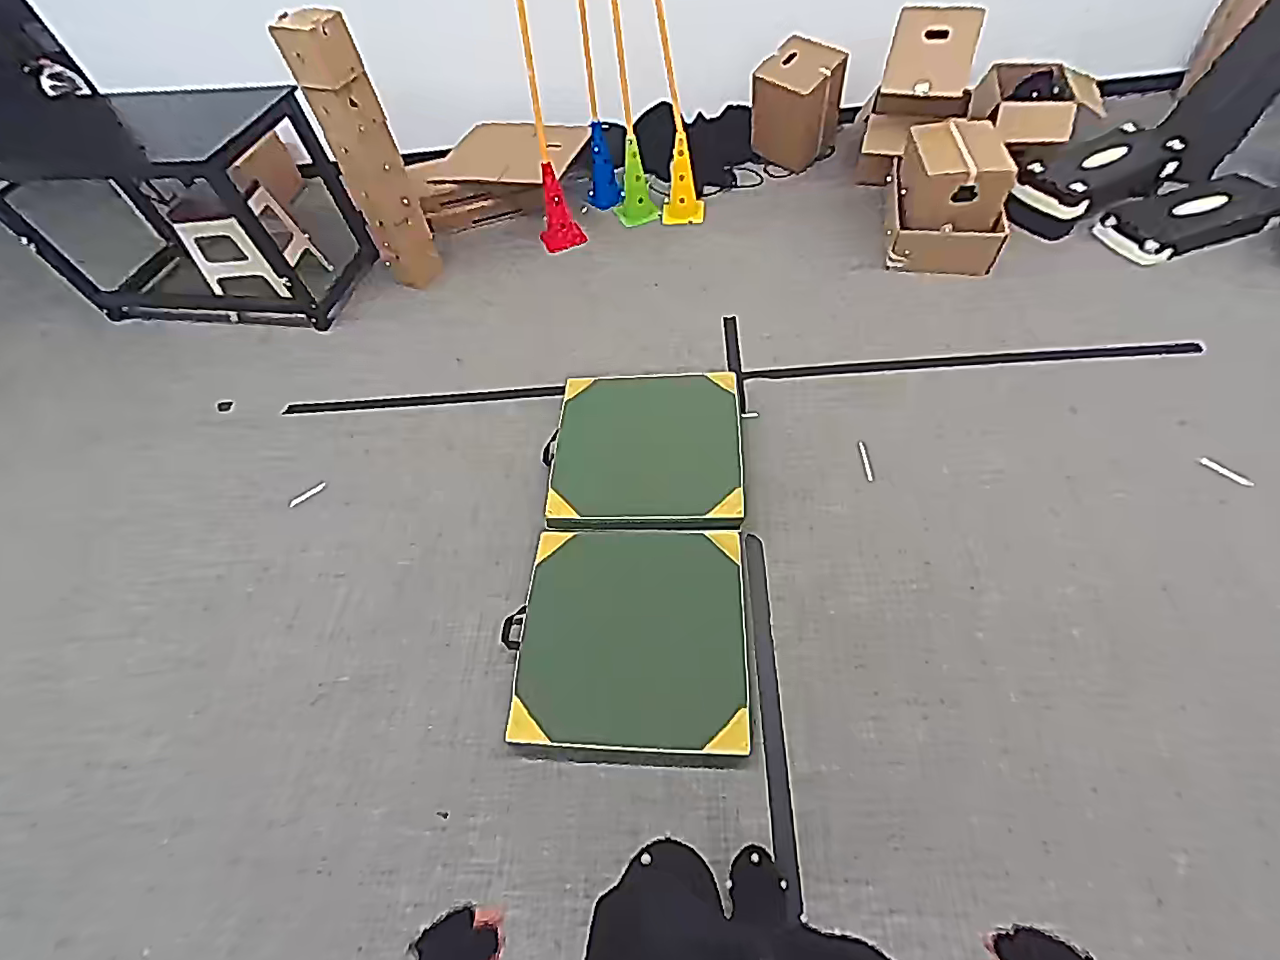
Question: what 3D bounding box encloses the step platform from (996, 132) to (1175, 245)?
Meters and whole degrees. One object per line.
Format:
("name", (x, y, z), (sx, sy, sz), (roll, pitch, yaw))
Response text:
("step platform", (1.921, -1.268, 2.337), (0.684, 0.204, 0.286), (-26, 57, -11))
